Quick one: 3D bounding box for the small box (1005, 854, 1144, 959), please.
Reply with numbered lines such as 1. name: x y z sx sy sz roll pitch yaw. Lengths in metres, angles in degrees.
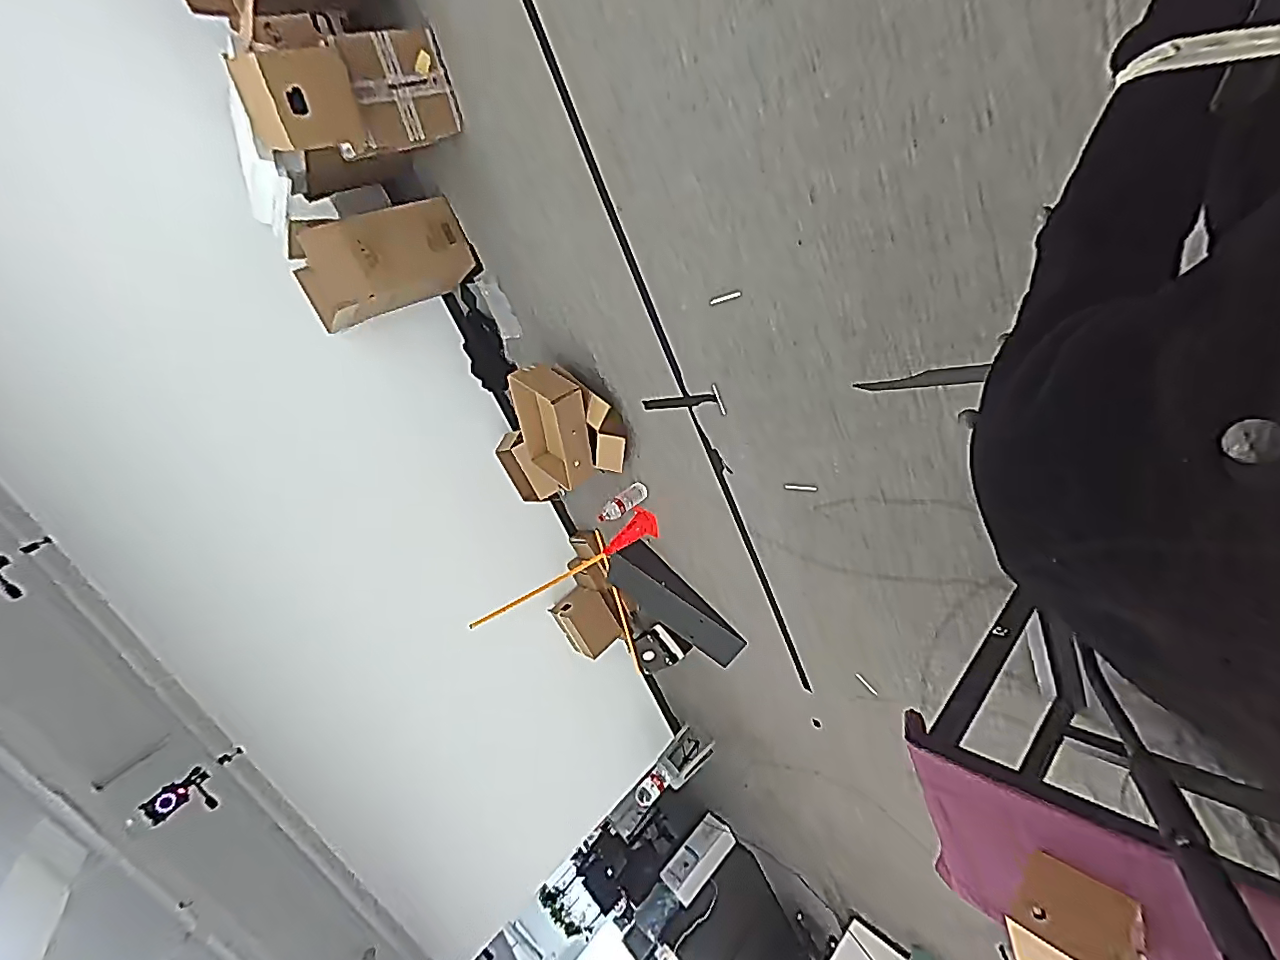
1. small box: 0.875 0.905 1.089 0.179 0.176 0.168 7 127 53
